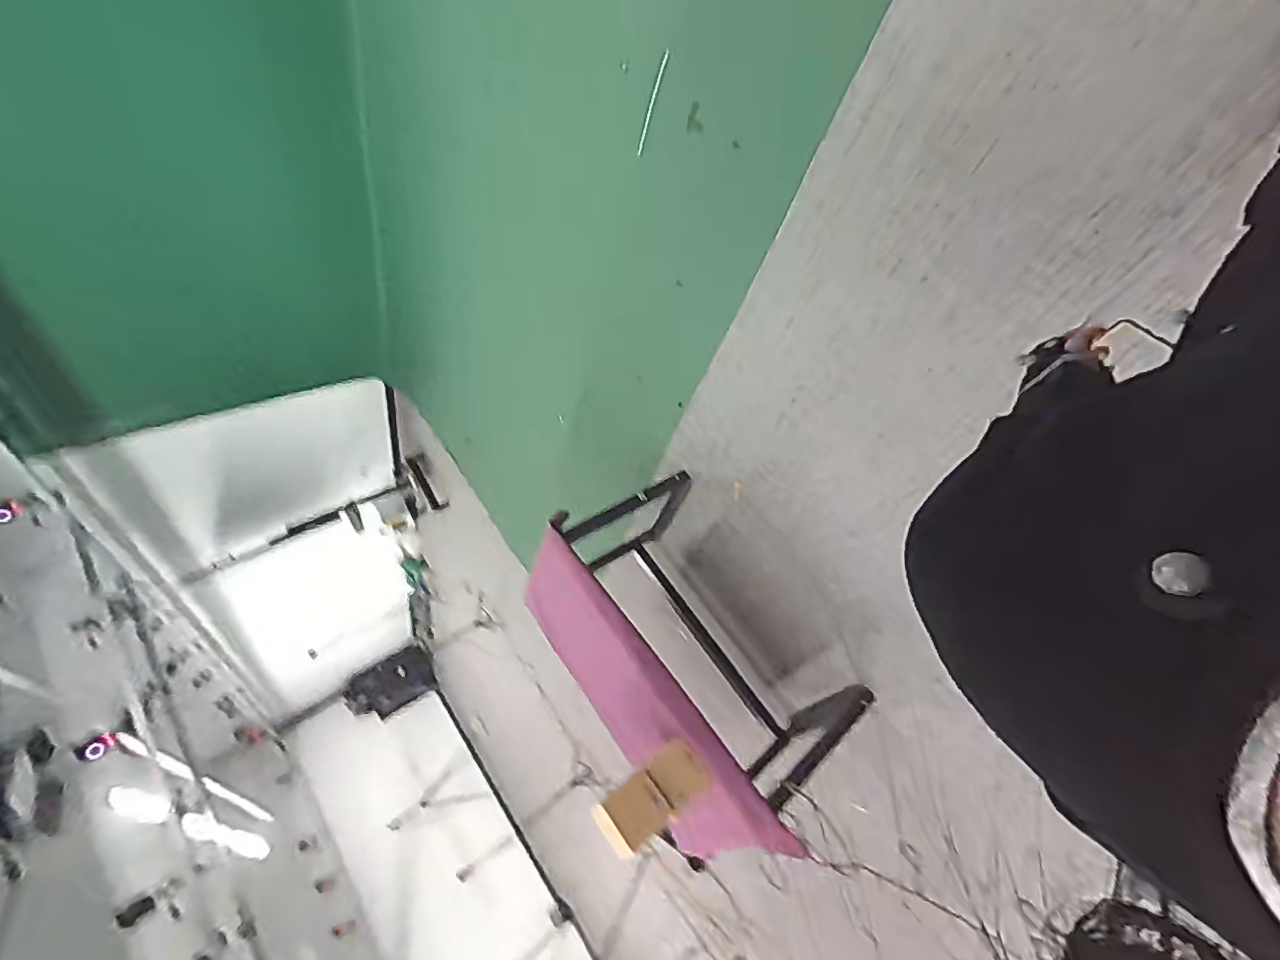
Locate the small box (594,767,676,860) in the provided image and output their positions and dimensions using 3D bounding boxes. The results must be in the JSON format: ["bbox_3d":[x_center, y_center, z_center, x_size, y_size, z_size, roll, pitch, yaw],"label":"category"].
[{"bbox_3d":[-0.014,1.005,1.631,0.168,0.176,0.179,48,144,22],"label":"small box"}]
